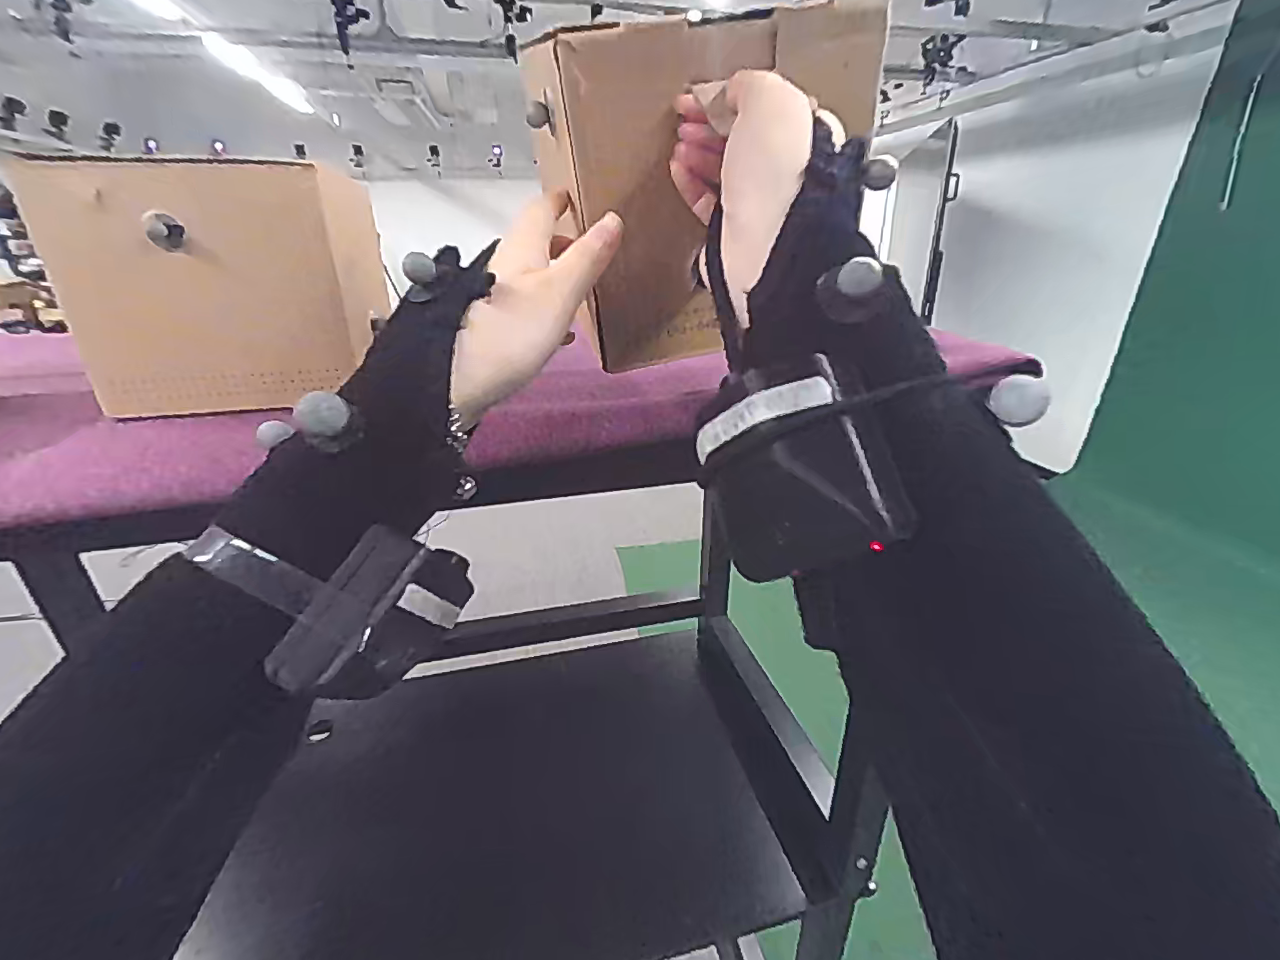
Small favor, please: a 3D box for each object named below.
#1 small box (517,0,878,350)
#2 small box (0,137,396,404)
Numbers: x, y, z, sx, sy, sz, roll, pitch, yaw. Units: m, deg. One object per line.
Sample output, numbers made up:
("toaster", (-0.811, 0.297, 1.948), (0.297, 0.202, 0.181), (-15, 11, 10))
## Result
("small box", (0.023, -0.206, 0.360), (0.168, 0.176, 0.179), (-15, 39, -9))
("small box", (-0.319, -0.163, 0.440), (0.179, 0.176, 0.168), (-6, 23, -11))
